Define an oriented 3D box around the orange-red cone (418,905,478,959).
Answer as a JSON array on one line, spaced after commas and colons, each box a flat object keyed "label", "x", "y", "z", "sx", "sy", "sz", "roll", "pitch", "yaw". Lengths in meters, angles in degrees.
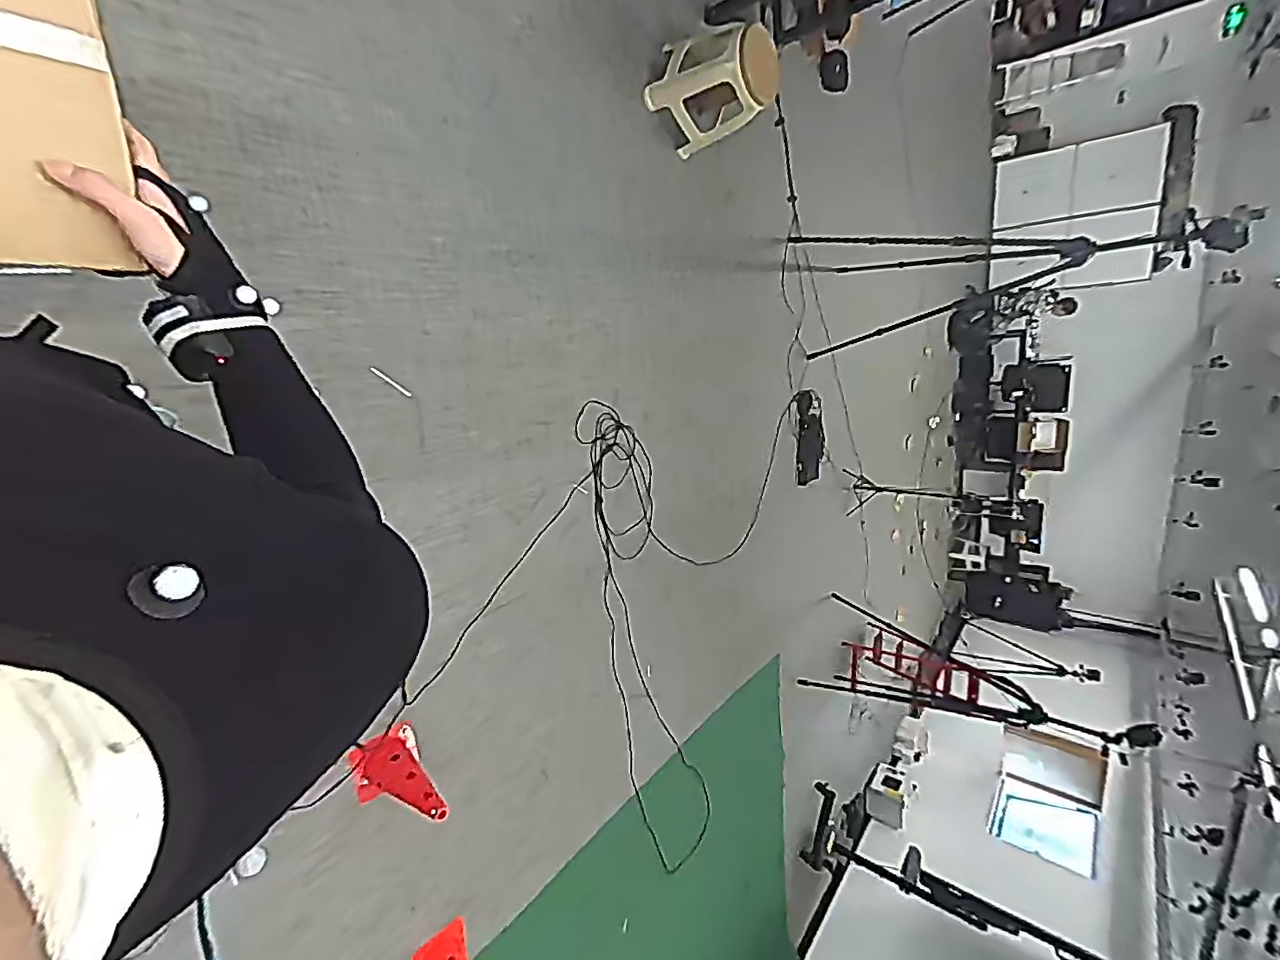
[{"label": "orange-red cone", "x": -0.602, "y": 1.740, "z": 1.905, "sx": 0.199, "sy": 0.360, "sz": 0.198, "roll": -12, "pitch": 106, "yaw": -49}]
